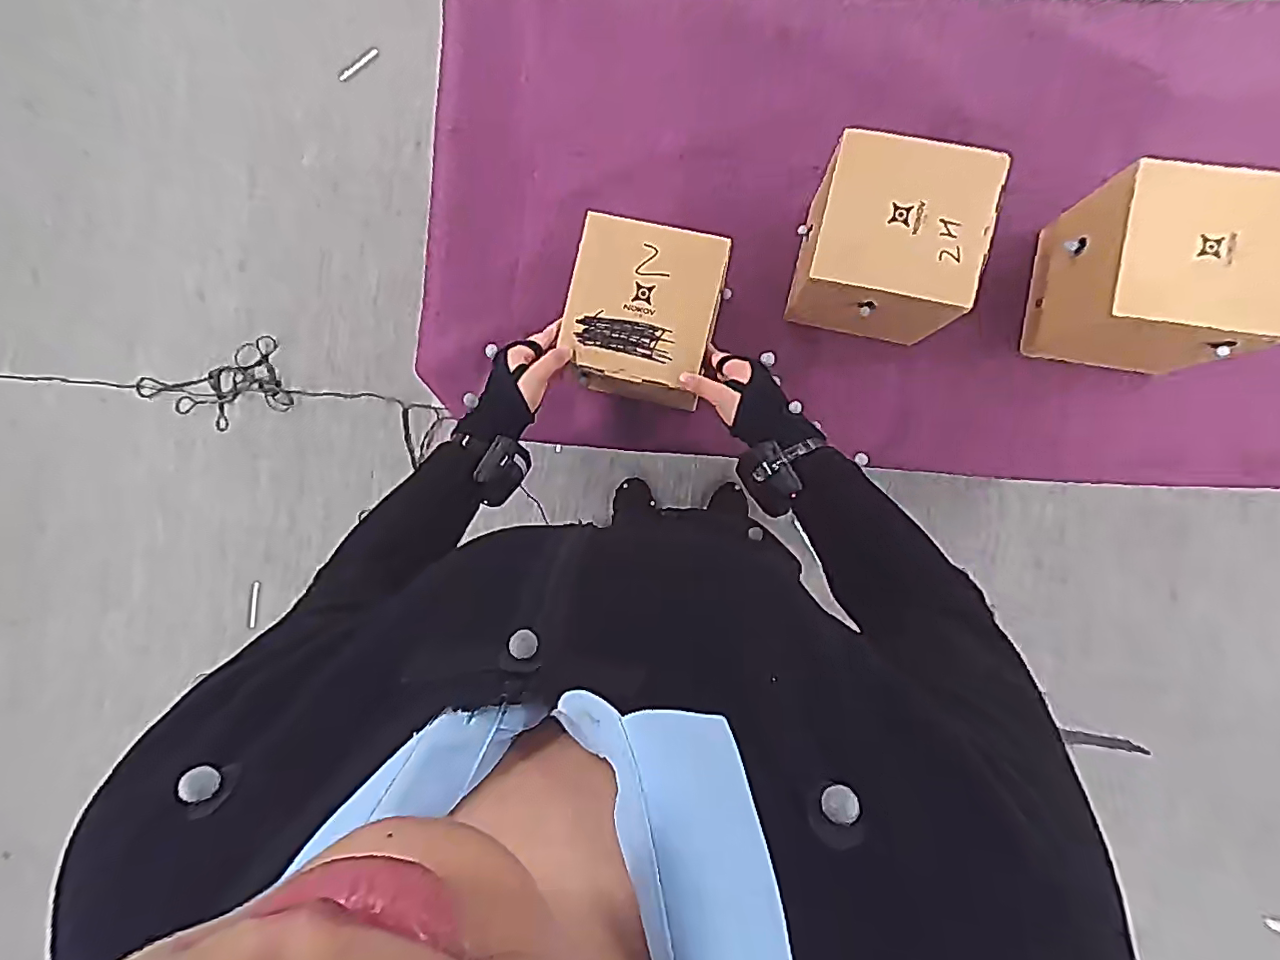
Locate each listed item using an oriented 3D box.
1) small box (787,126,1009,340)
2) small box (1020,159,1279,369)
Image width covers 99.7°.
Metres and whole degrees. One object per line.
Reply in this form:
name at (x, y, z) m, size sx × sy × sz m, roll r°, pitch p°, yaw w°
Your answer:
small box at (0.290, -0.280, 0.651) m, size 0.179 × 0.176 × 0.168 m, roll 14°, pitch 92°, yaw 5°
small box at (0.585, -0.234, 0.625) m, size 0.179 × 0.176 × 0.168 m, roll 10°, pitch 90°, yaw 5°
